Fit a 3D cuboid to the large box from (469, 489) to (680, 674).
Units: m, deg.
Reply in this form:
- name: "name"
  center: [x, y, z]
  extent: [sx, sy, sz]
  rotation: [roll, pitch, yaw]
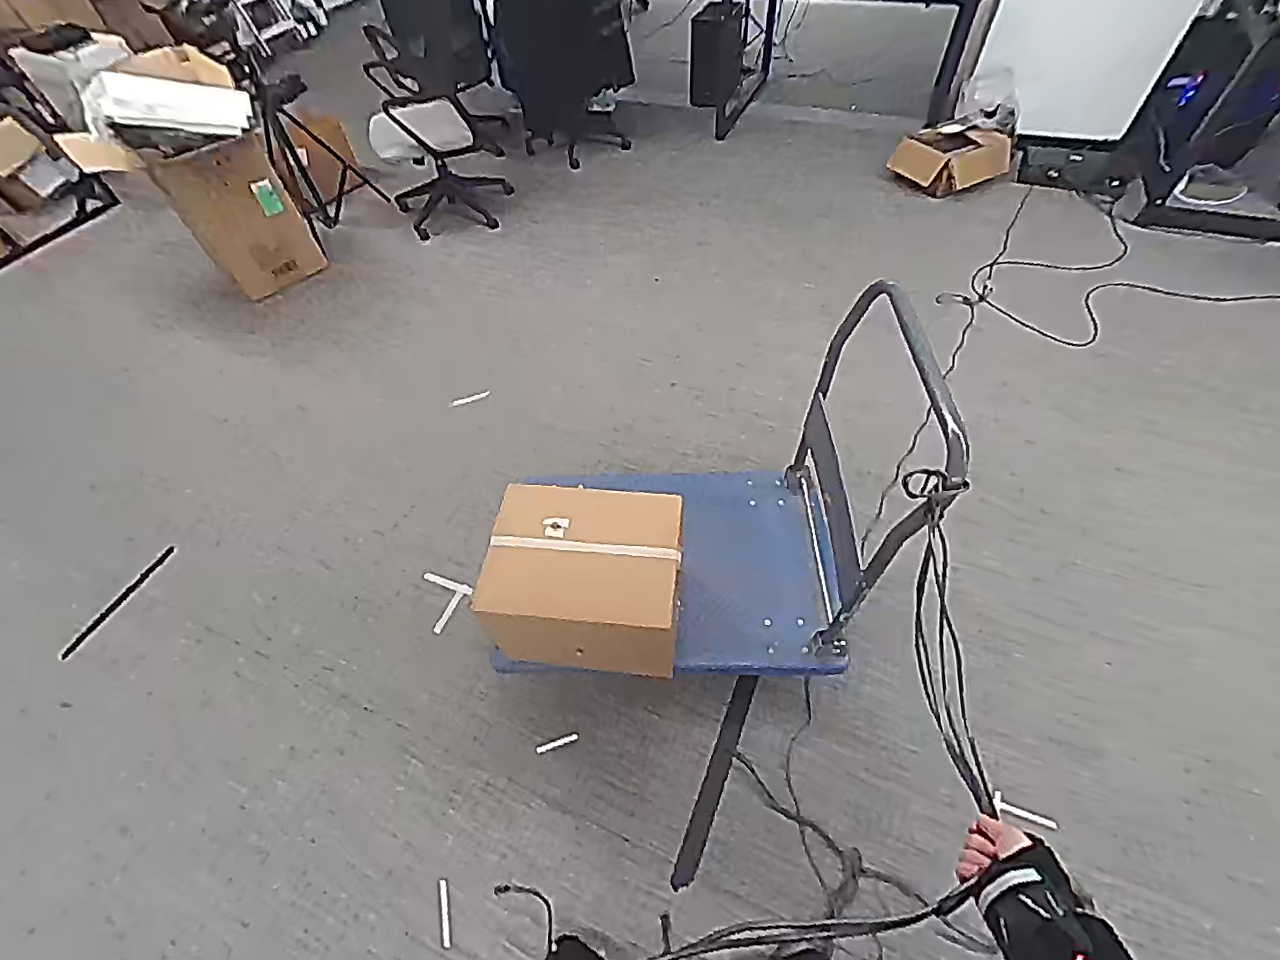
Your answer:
- name: "large box"
  center: [-0.115, 0.238, 1.246]
  extent: [0.408, 0.320, 0.320]
  rotation: [3, 53, 7]
